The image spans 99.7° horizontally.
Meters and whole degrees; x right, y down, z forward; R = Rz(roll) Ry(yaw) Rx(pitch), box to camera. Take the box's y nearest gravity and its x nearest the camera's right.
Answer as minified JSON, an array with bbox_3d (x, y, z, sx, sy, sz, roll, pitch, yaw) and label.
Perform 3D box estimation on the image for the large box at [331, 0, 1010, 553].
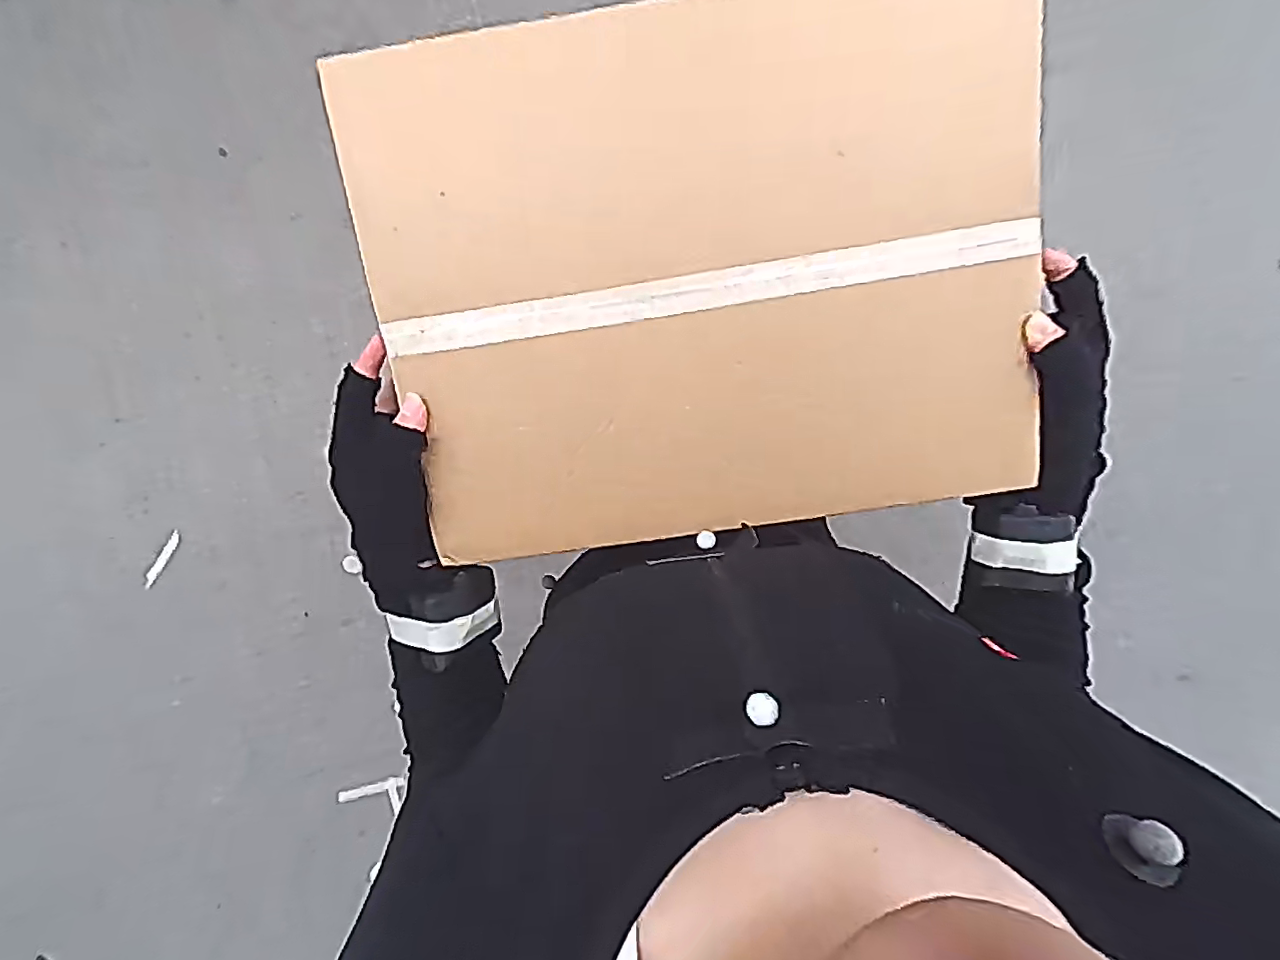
[{"bbox_3d":[0.035,-0.159,0.490,0.408,0.320,0.320,-8,102,2],"label":"large box"}]
